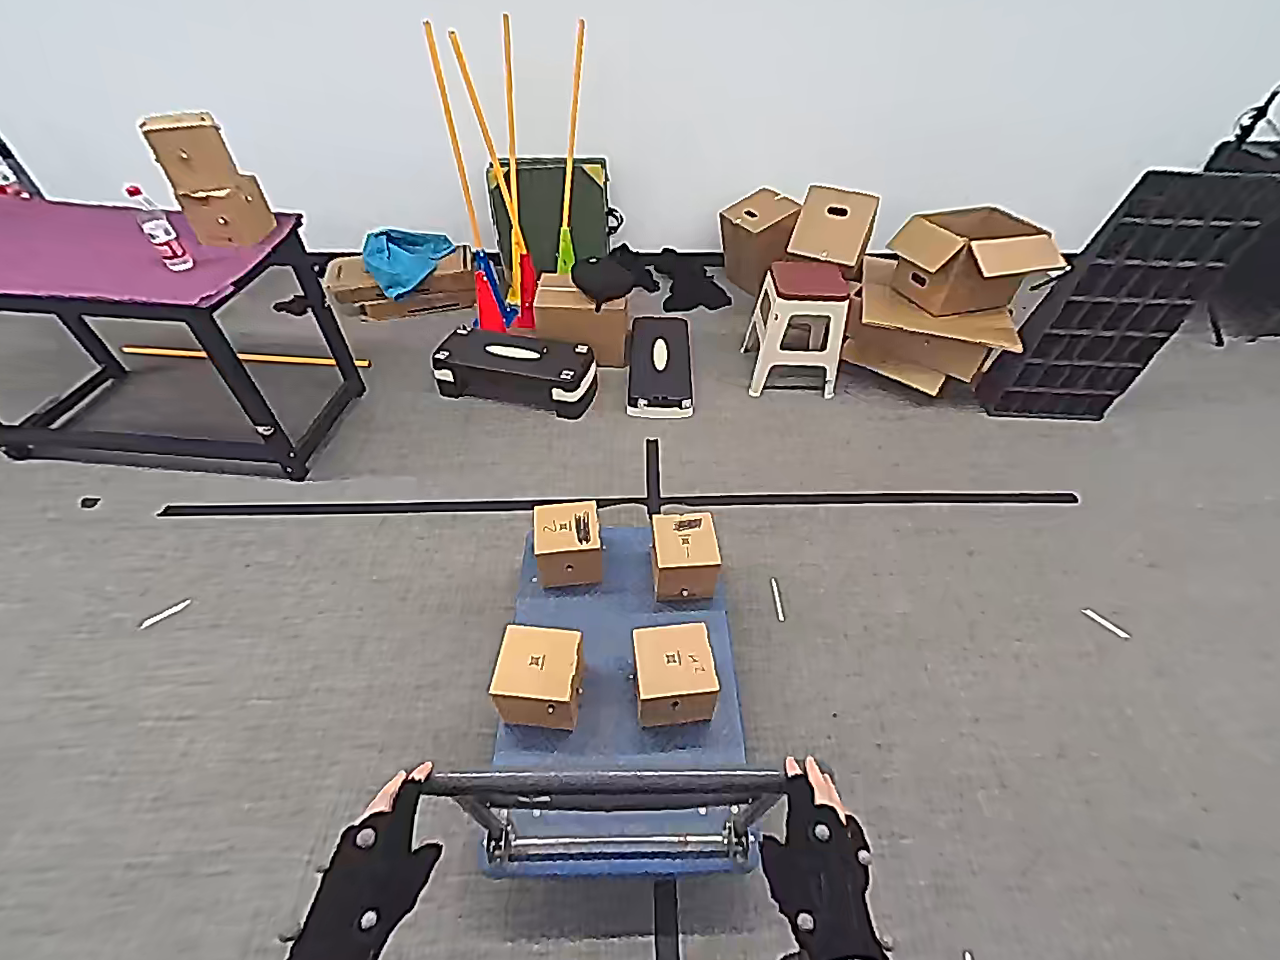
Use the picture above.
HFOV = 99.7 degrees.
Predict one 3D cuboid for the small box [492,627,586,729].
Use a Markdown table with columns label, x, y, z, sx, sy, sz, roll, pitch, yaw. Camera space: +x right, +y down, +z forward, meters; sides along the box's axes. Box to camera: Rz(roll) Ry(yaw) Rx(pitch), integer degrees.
| label | x | y | z | sx | sy | sz | roll | pitch | yaw |
| --- | --- | --- | --- | --- | --- | --- | --- | --- | --- |
| small box | -0.227 | 0.466 | 1.263 | 0.179 | 0.176 | 0.168 | 5 | 46 | 2 |

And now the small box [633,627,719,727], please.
| label | x | y | z | sx | sy | sz | roll | pitch | yaw |
| --- | --- | --- | --- | --- | --- | --- | --- | --- | --- |
| small box | 0.078 | 0.466 | 1.270 | 0.179 | 0.176 | 0.168 | -4 | 47 | -5 |

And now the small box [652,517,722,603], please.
| label | x | y | z | sx | sy | sz | roll | pitch | yaw |
| --- | --- | --- | --- | --- | --- | --- | --- | --- | --- |
| small box | 0.124 | 0.223 | 1.502 | 0.168 | 0.176 | 0.179 | -2 | 48 | -4 |
